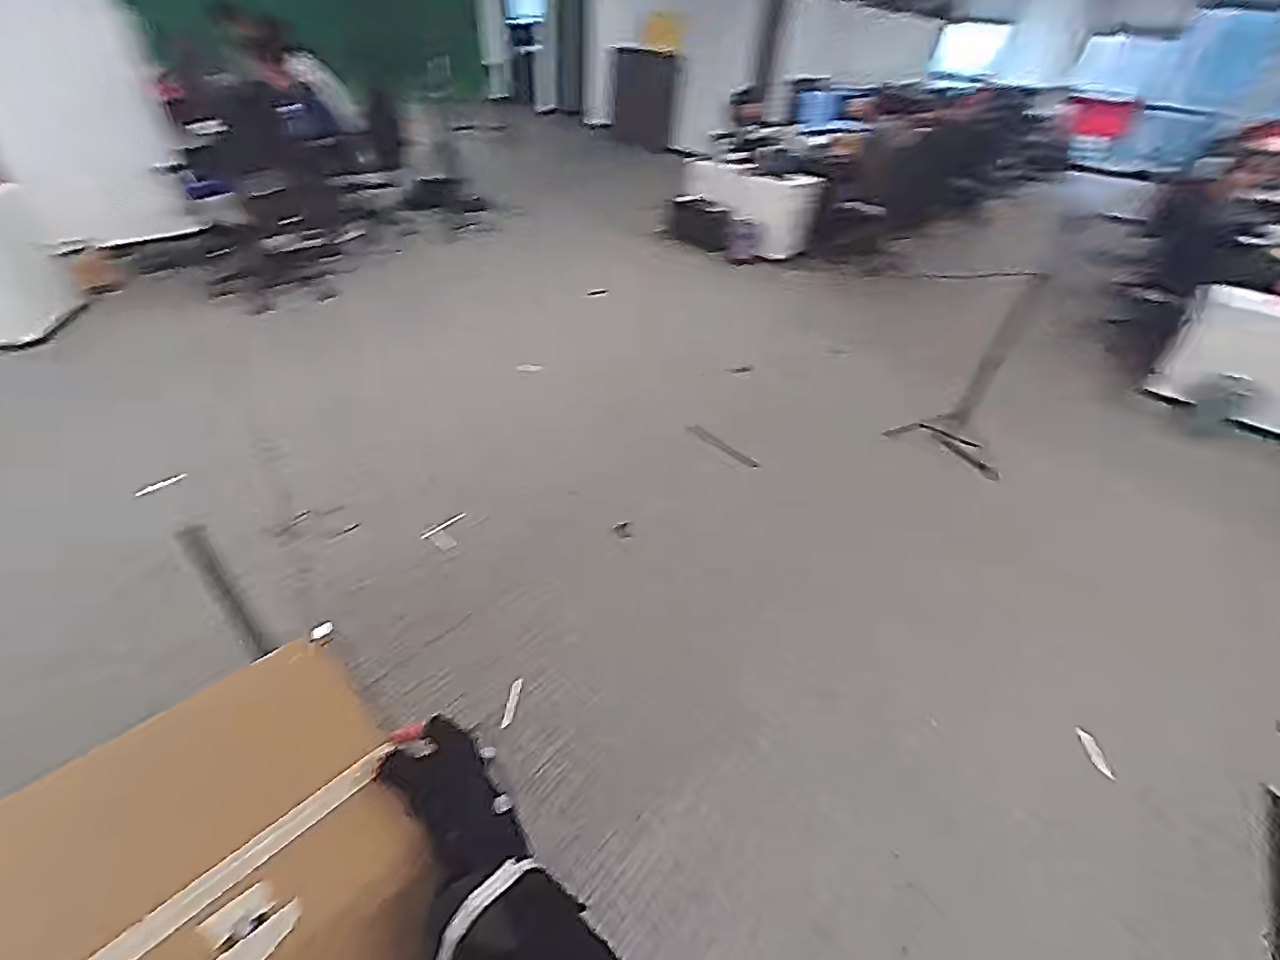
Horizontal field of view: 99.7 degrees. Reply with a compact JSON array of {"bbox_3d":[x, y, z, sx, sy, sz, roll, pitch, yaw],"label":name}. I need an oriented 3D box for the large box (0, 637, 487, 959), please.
[{"bbox_3d":[-0.403,0.442,0.512,0.408,0.320,0.320,-30,64,-37],"label":"large box"}]
